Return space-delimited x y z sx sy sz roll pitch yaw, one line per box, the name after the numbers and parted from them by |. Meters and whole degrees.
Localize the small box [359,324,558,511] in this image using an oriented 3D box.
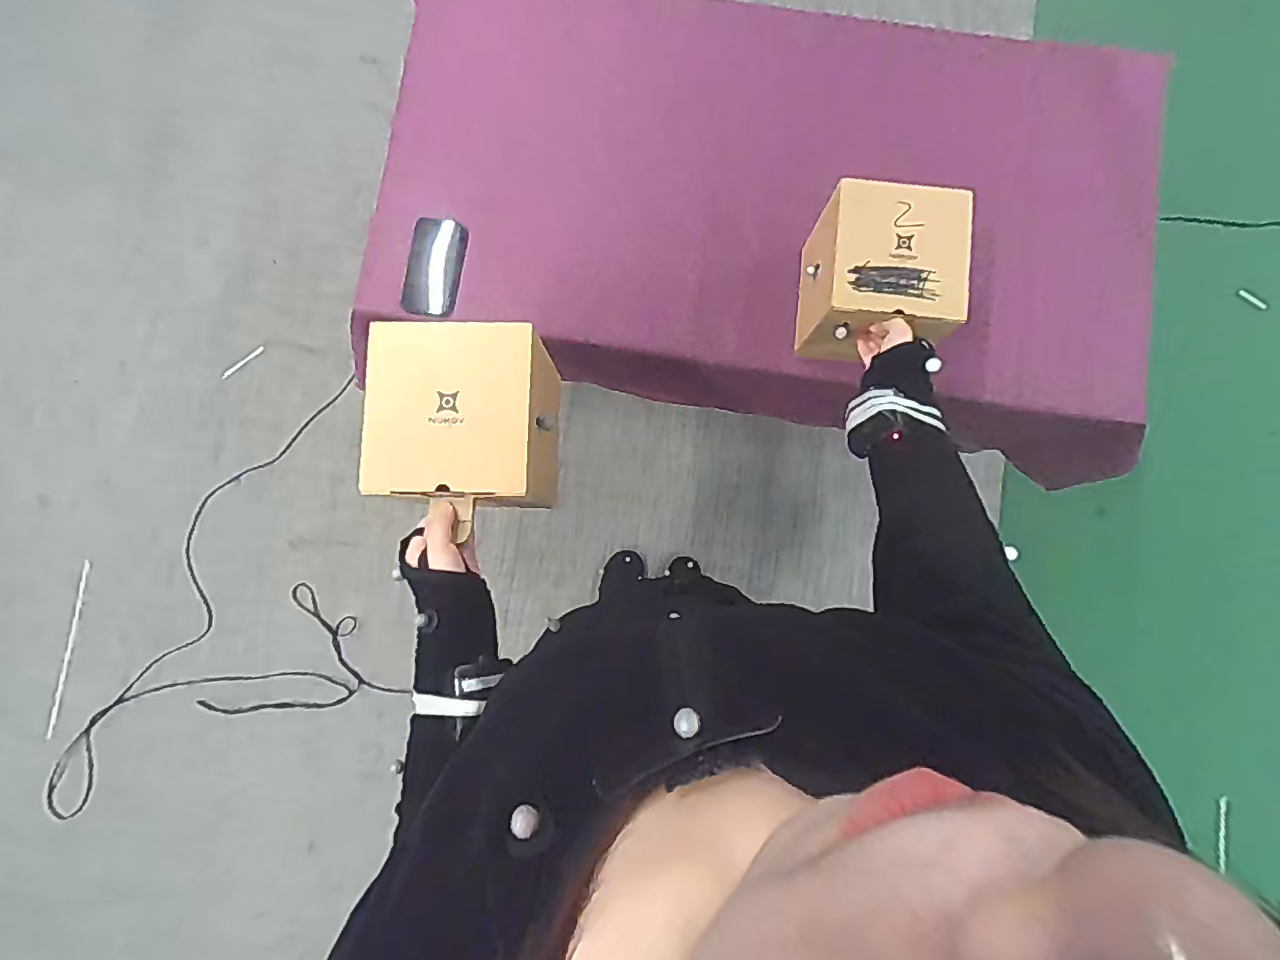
-0.187 -0.059 0.609 0.168 0.176 0.179 1 84 0 | small box
